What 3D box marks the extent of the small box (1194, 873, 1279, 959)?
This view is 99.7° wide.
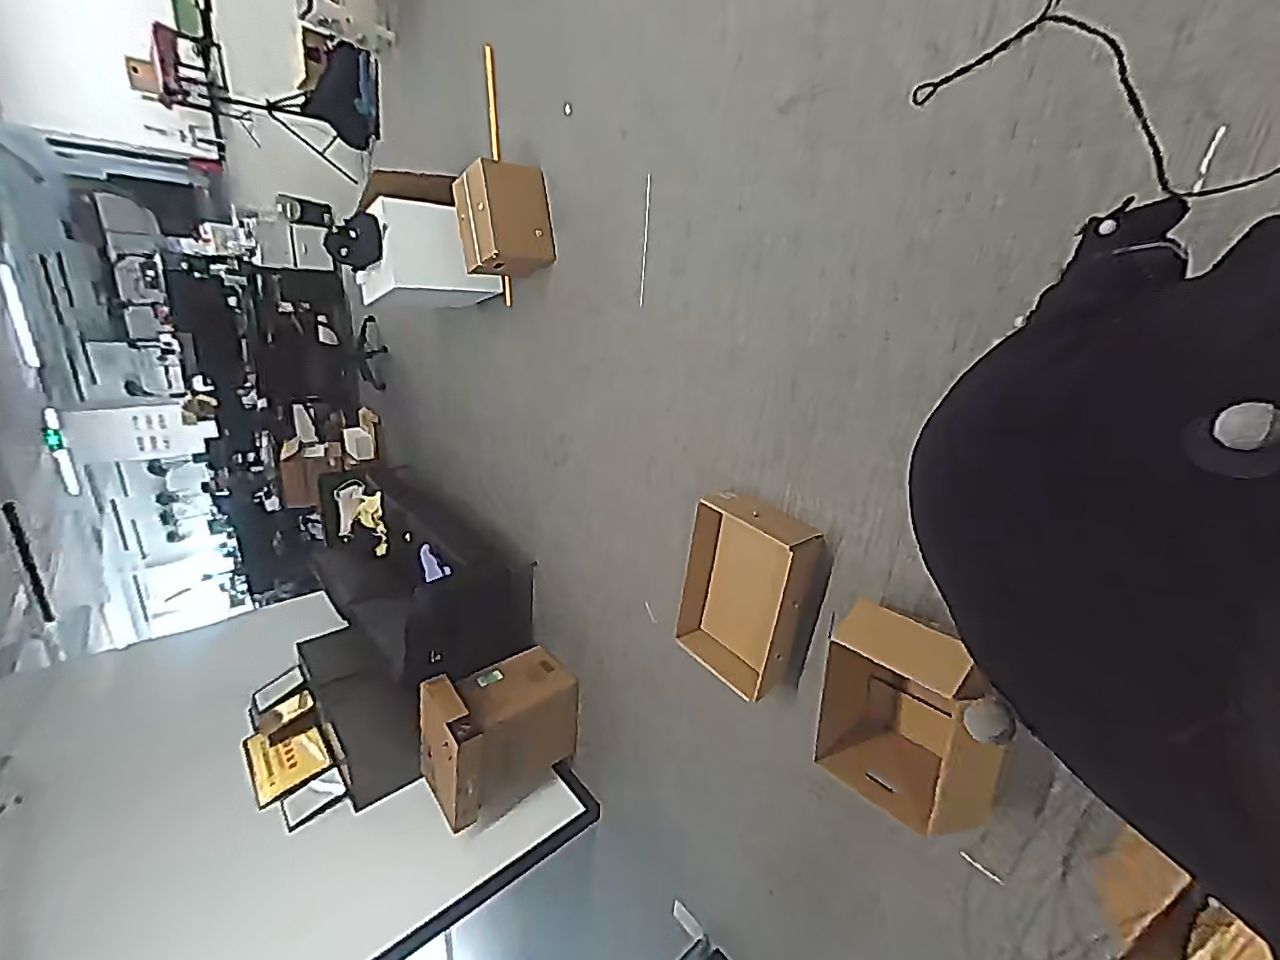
[{"bbox_3d":[1.066,0.796,0.887,0.179,0.176,0.168,31,122,42],"label":"small box"}]
